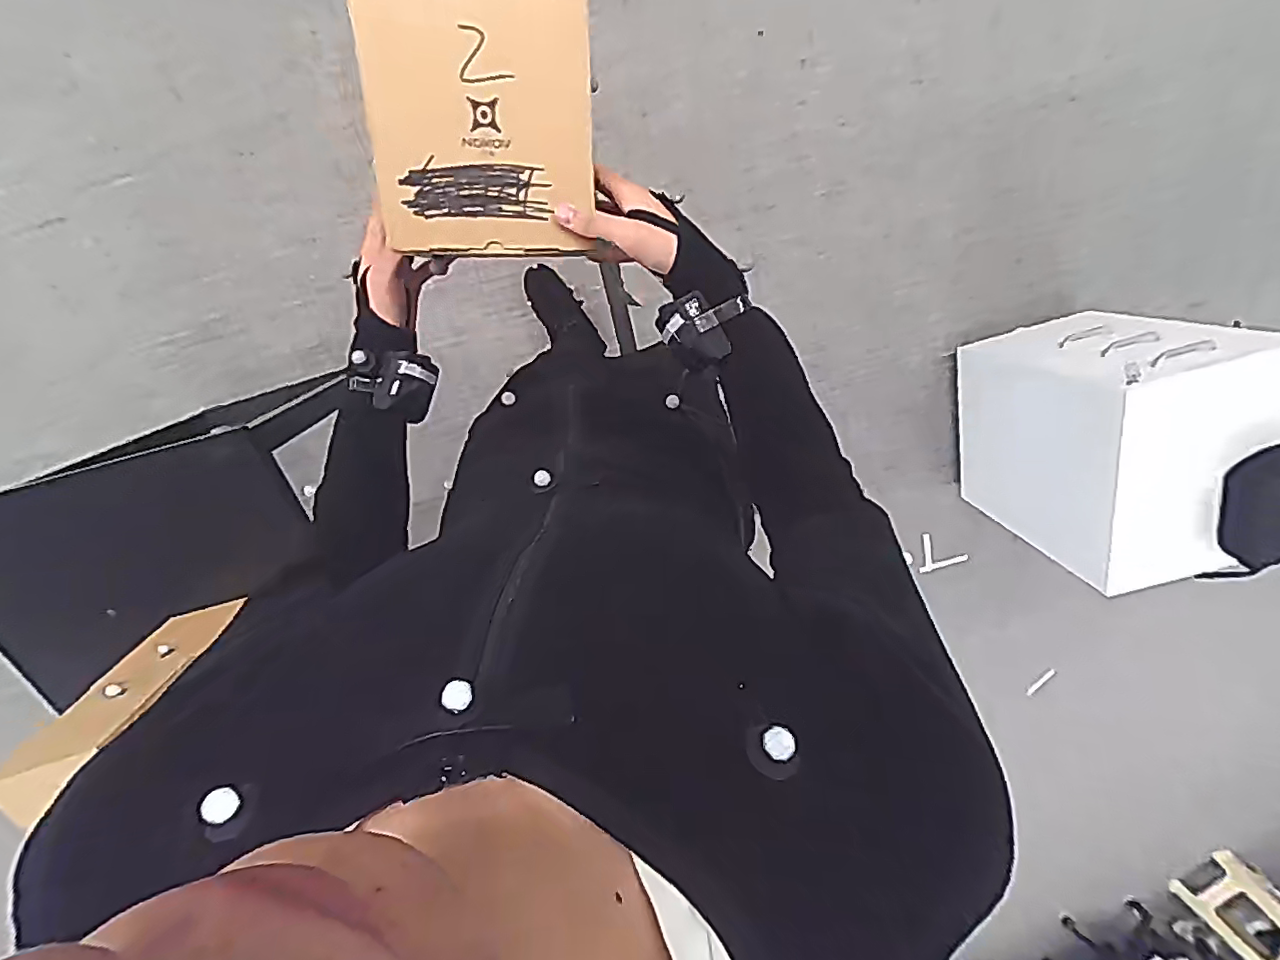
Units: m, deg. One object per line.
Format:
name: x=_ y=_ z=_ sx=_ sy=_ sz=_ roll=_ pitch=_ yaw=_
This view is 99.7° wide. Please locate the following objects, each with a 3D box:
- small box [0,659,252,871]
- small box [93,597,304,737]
small box: x=-0.694 y=0.384 z=0.746 sx=0.168 sy=0.176 sz=0.179 roll=-18 pitch=112 yaw=3
small box: x=-0.712 y=0.322 z=0.897 sx=0.179 sy=0.176 sz=0.168 roll=-15 pitch=113 yaw=2
